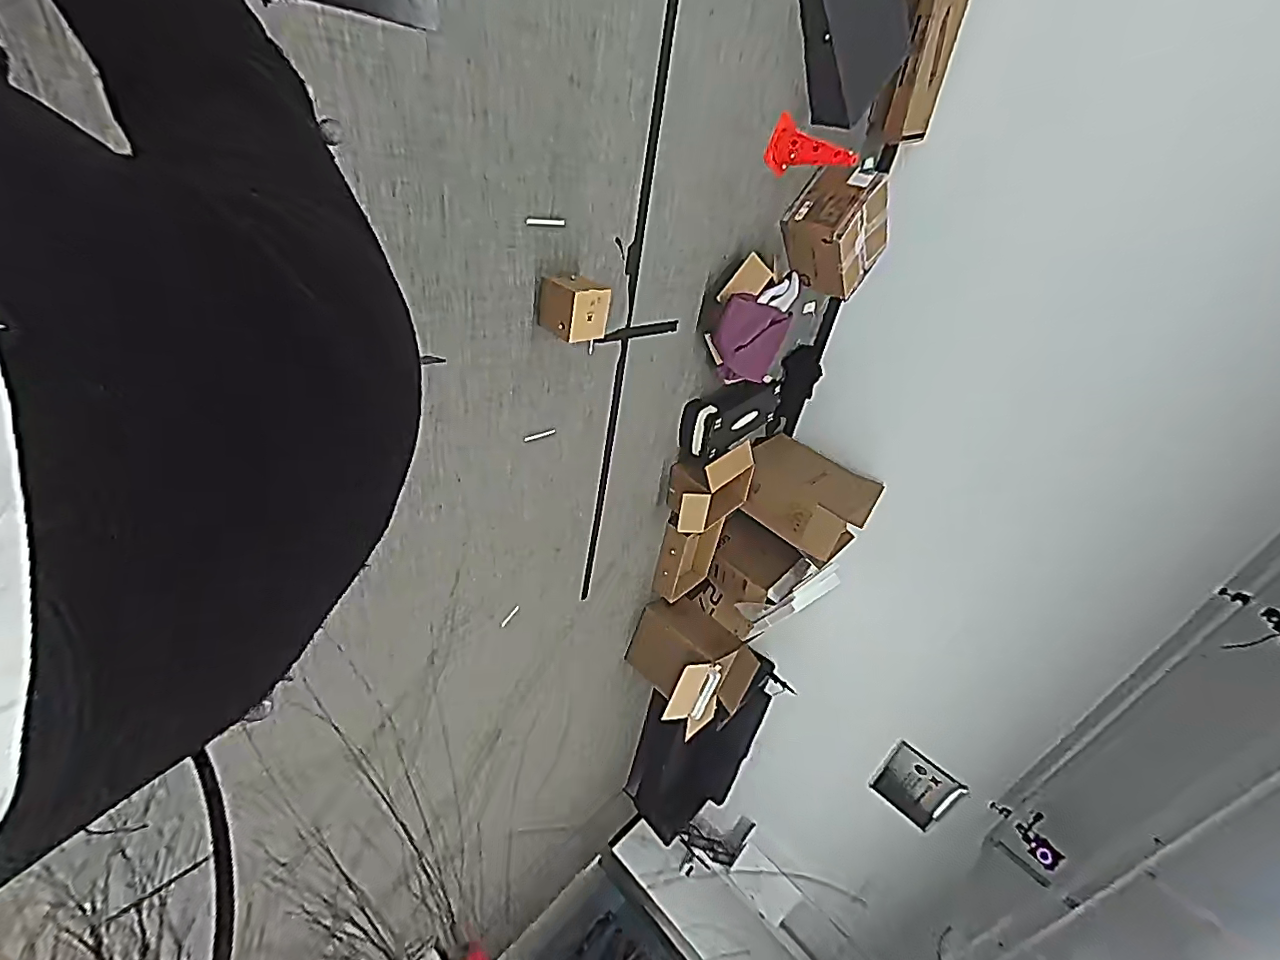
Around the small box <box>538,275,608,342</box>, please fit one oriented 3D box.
[{"bbox_3d":[-0.238,-0.597,1.875,0.168,0.176,0.179,-23,136,-43],"label":"small box"}]
